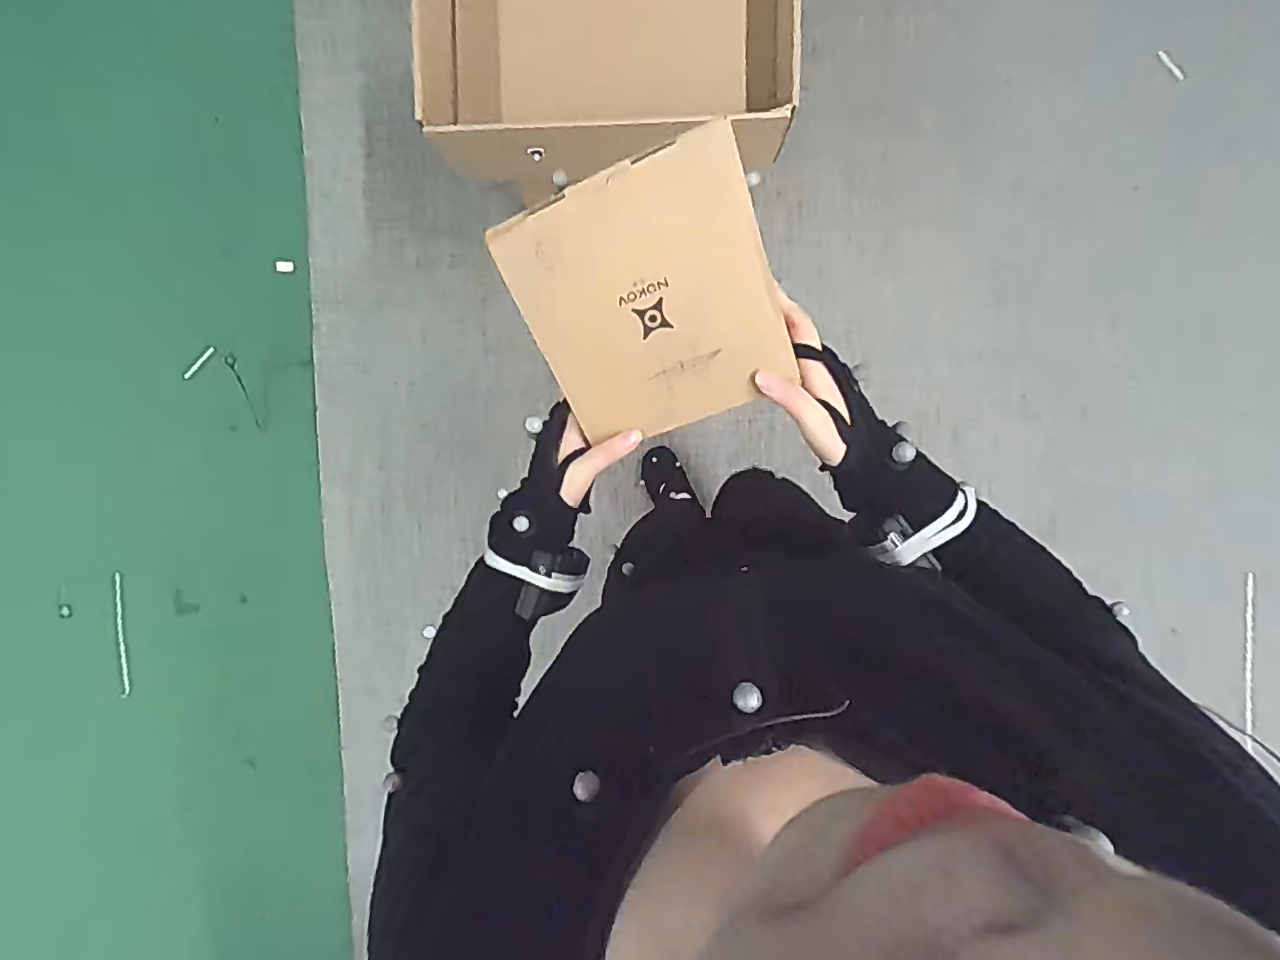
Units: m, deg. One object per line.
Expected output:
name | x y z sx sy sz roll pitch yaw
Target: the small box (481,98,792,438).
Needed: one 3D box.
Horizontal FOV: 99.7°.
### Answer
small box | 0.007 -0.165 0.430 0.168 0.176 0.179 -17 119 15
